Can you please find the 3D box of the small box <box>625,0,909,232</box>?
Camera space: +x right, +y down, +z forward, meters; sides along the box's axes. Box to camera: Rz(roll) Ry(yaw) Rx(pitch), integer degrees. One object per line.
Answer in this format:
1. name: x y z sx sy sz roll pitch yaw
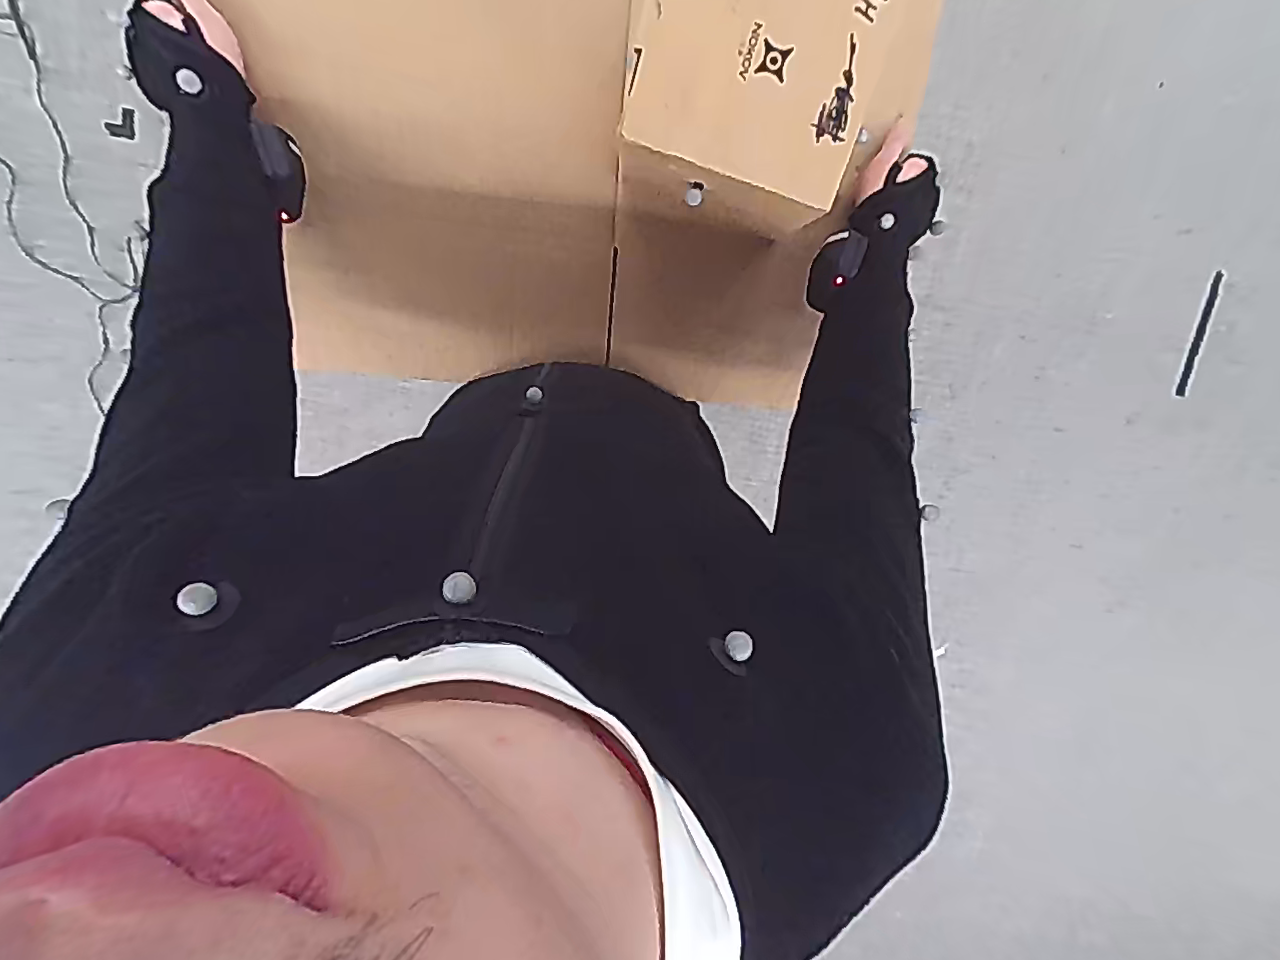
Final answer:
1. small box: 0.095 -0.338 0.479 0.179 0.176 0.168 17 106 -5
